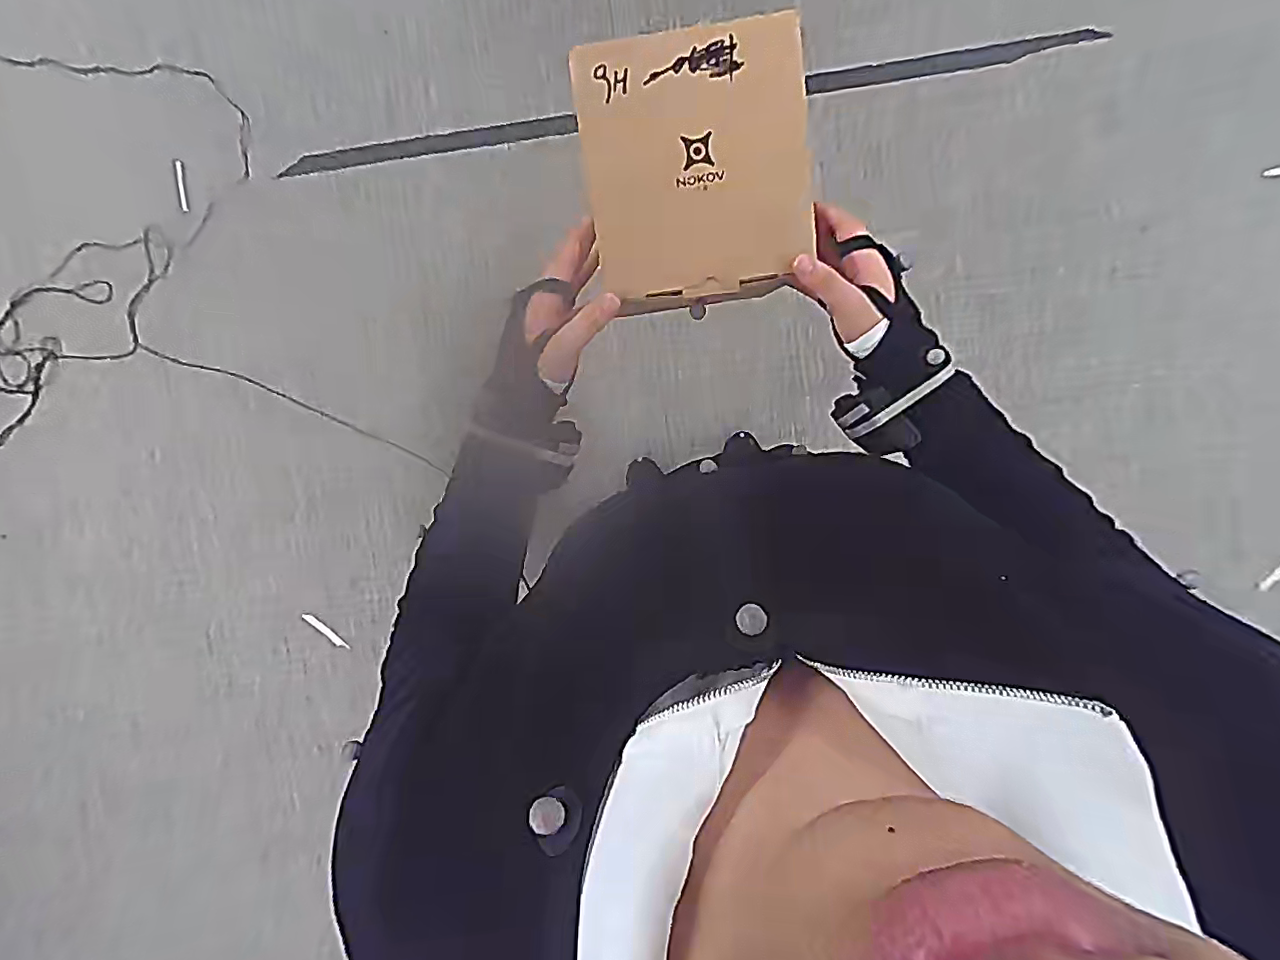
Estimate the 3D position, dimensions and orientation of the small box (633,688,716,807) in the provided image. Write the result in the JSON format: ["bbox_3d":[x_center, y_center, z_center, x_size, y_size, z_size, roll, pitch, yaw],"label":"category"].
[{"bbox_3d":[0.078,0.582,1.190,0.168,0.176,0.179,-5,94,4],"label":"small box"}]

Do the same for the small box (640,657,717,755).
[{"bbox_3d":[0.098,0.566,1.352,0.168,0.176,0.179,-8,94,4],"label":"small box"}]
